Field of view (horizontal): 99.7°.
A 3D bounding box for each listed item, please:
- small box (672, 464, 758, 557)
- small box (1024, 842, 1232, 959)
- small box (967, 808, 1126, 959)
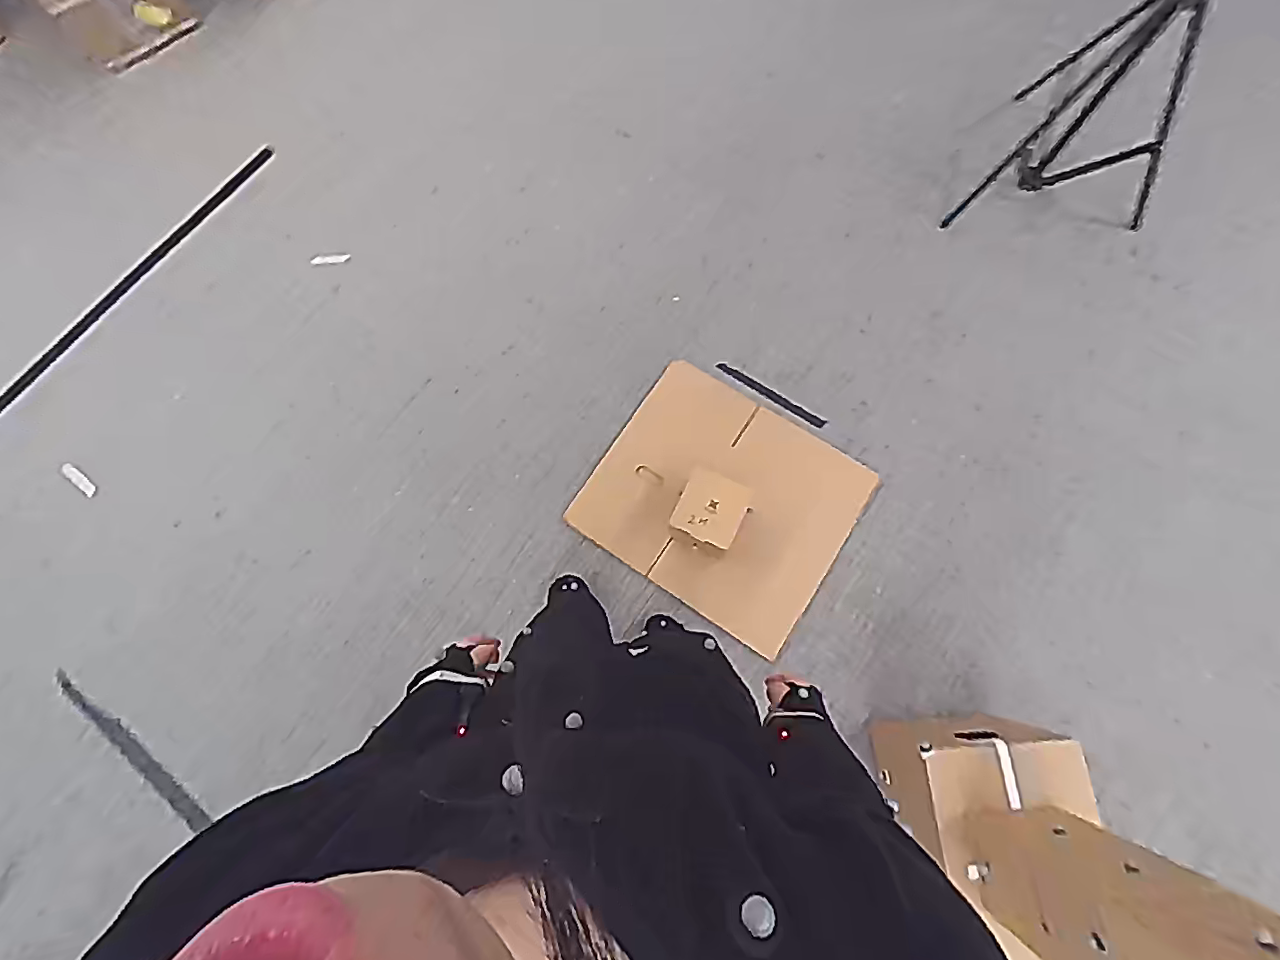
[{"bbox_3d":[0.193,0.087,1.434,0.168,0.176,0.179,25,78,12],"label":"small box"},{"bbox_3d":[0.709,0.647,0.779,0.179,0.176,0.168,-5,75,1],"label":"small box"},{"bbox_3d":[0.714,0.689,0.938,0.179,0.176,0.168,-6,75,2],"label":"small box"}]
